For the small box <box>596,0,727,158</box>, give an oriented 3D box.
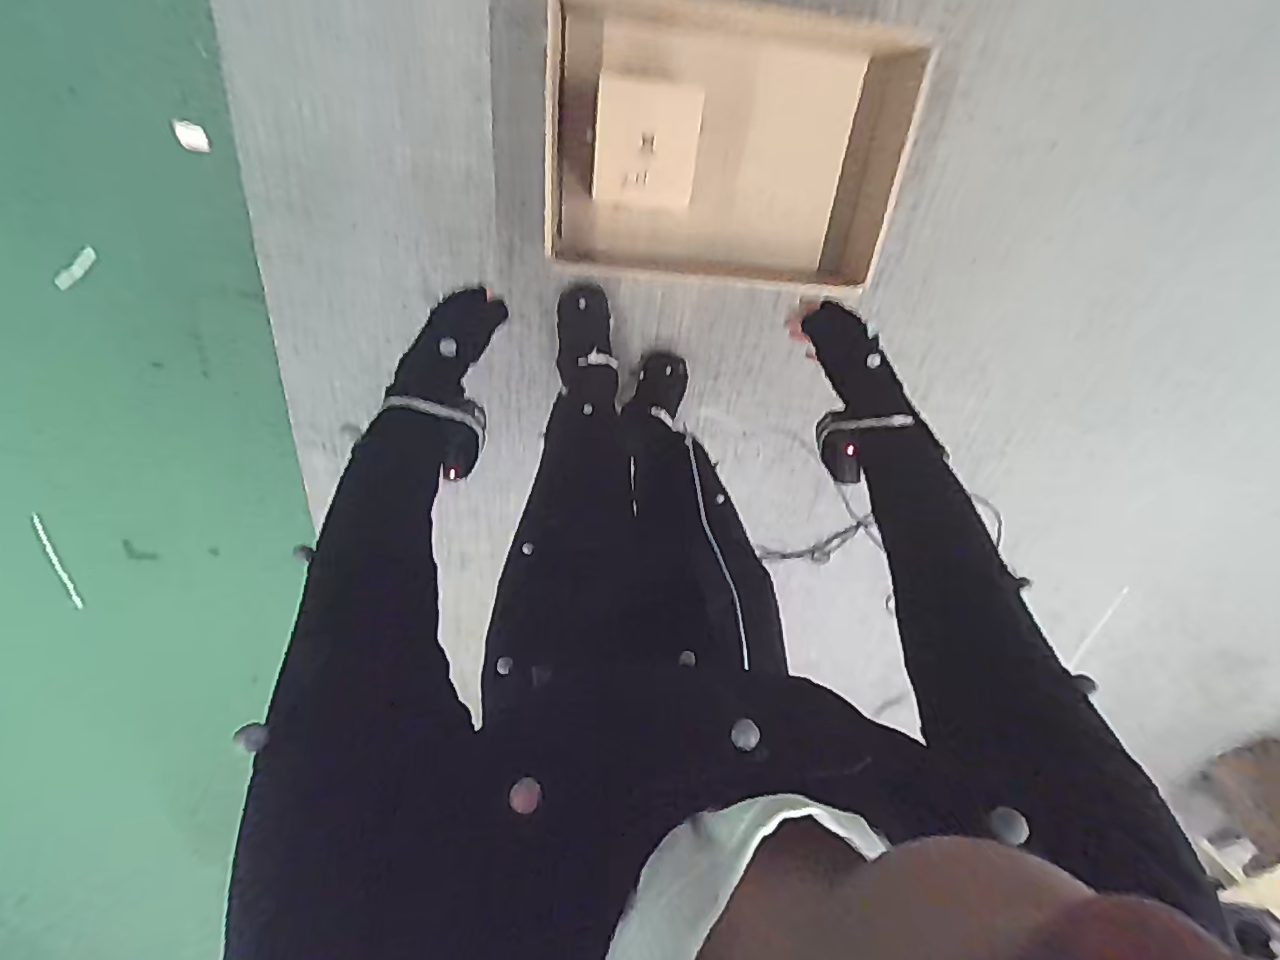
[{"bbox_3d":[0.021,-0.613,0.830,0.168,0.176,0.179,4,125,-8],"label":"small box"}]
